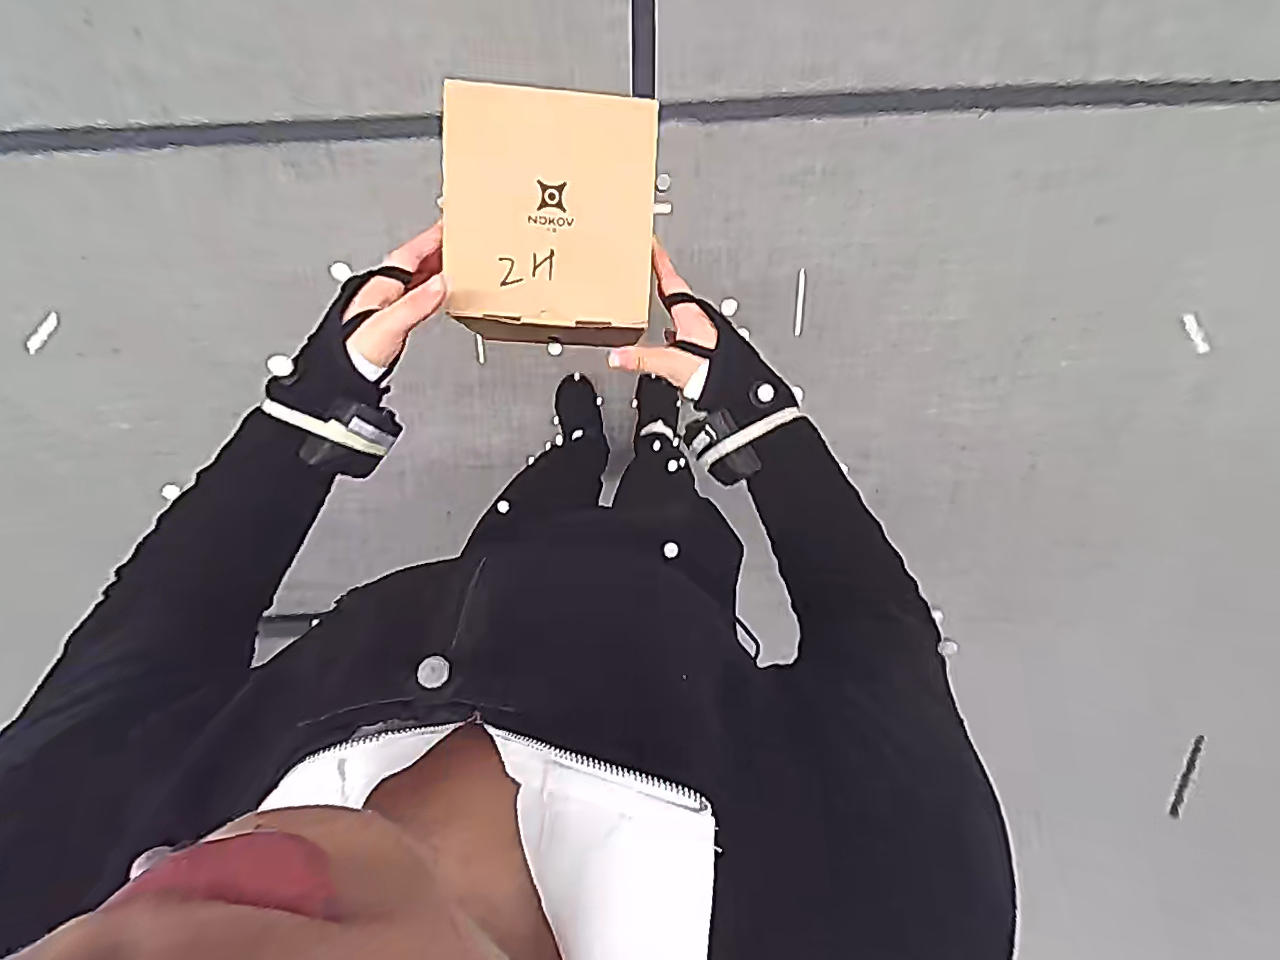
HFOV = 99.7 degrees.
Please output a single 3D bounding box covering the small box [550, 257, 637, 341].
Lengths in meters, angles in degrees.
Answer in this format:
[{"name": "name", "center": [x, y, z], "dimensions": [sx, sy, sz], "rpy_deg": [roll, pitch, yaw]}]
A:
[{"name": "small box", "center": [-0.100, -0.414, 1.247], "dimensions": [0.179, 0.176, 0.168], "rpy_deg": [-5, 109, 0]}]
